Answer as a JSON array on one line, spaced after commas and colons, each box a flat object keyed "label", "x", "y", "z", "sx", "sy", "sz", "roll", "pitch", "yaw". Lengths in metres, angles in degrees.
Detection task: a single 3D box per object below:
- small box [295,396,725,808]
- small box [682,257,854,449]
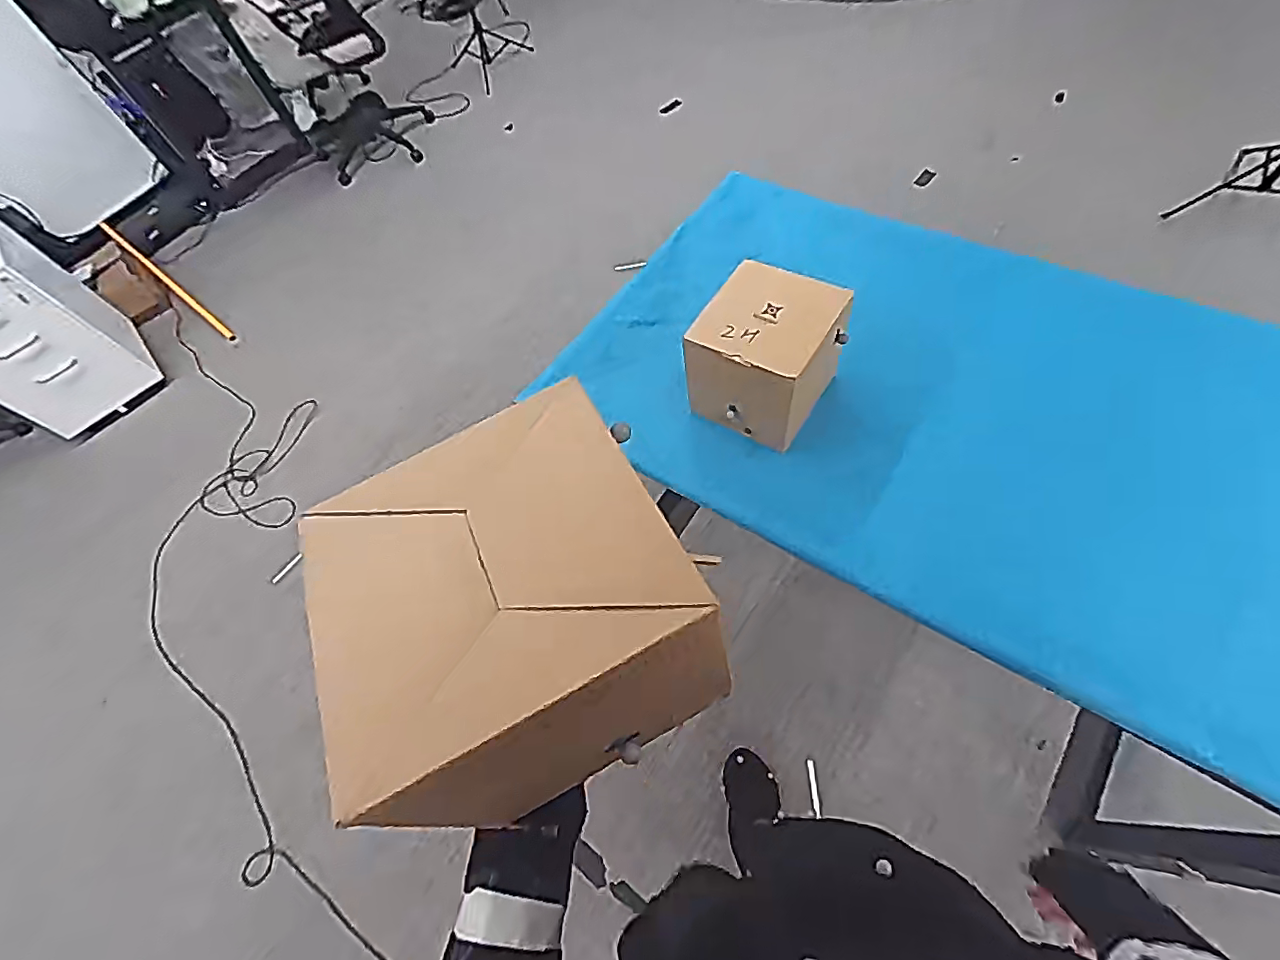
[{"label": "small box", "x": -0.067, "y": 0.075, "z": 0.333, "sx": 0.179, "sy": 0.176, "sz": 0.168, "roll": -28, "pitch": 56, "yaw": -5}, {"label": "small box", "x": 0.182, "y": -0.180, "z": 0.786, "sx": 0.168, "sy": 0.176, "sz": 0.179, "roll": 31, "pitch": 73, "yaw": 25}]
